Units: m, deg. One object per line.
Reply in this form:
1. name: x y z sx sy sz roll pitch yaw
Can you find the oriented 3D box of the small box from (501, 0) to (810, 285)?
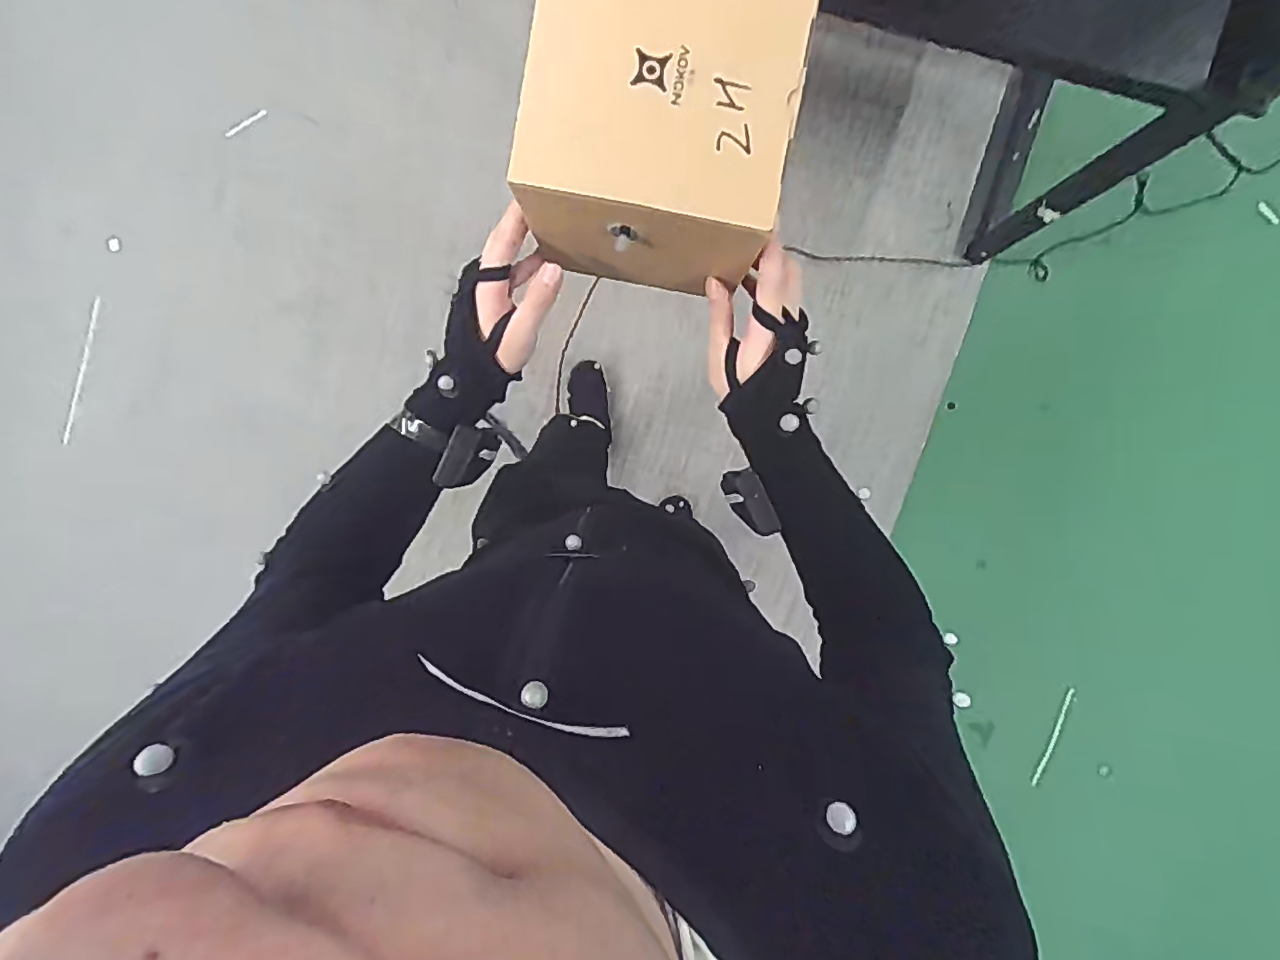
1. small box: 0.012 -0.266 0.420 0.179 0.176 0.168 11 95 0
